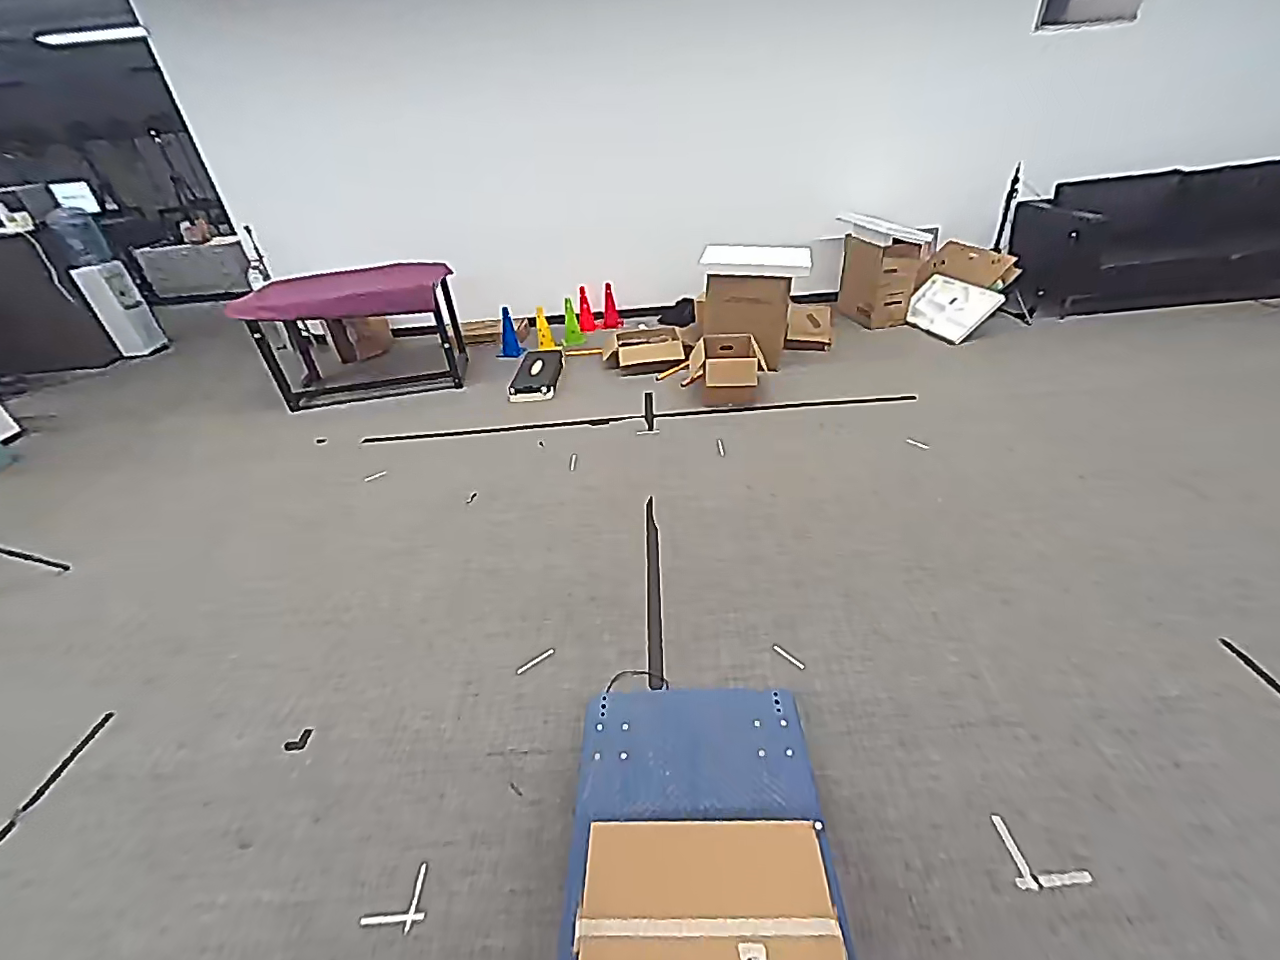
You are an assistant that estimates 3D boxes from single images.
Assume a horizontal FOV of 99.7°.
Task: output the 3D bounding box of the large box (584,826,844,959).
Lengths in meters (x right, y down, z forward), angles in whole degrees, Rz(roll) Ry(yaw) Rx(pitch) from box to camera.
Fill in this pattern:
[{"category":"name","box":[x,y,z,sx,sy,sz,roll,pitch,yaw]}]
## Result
[{"category":"large box","box":[0.118,0.839,0.934,0.408,0.320,0.320,-2,35,3]}]
